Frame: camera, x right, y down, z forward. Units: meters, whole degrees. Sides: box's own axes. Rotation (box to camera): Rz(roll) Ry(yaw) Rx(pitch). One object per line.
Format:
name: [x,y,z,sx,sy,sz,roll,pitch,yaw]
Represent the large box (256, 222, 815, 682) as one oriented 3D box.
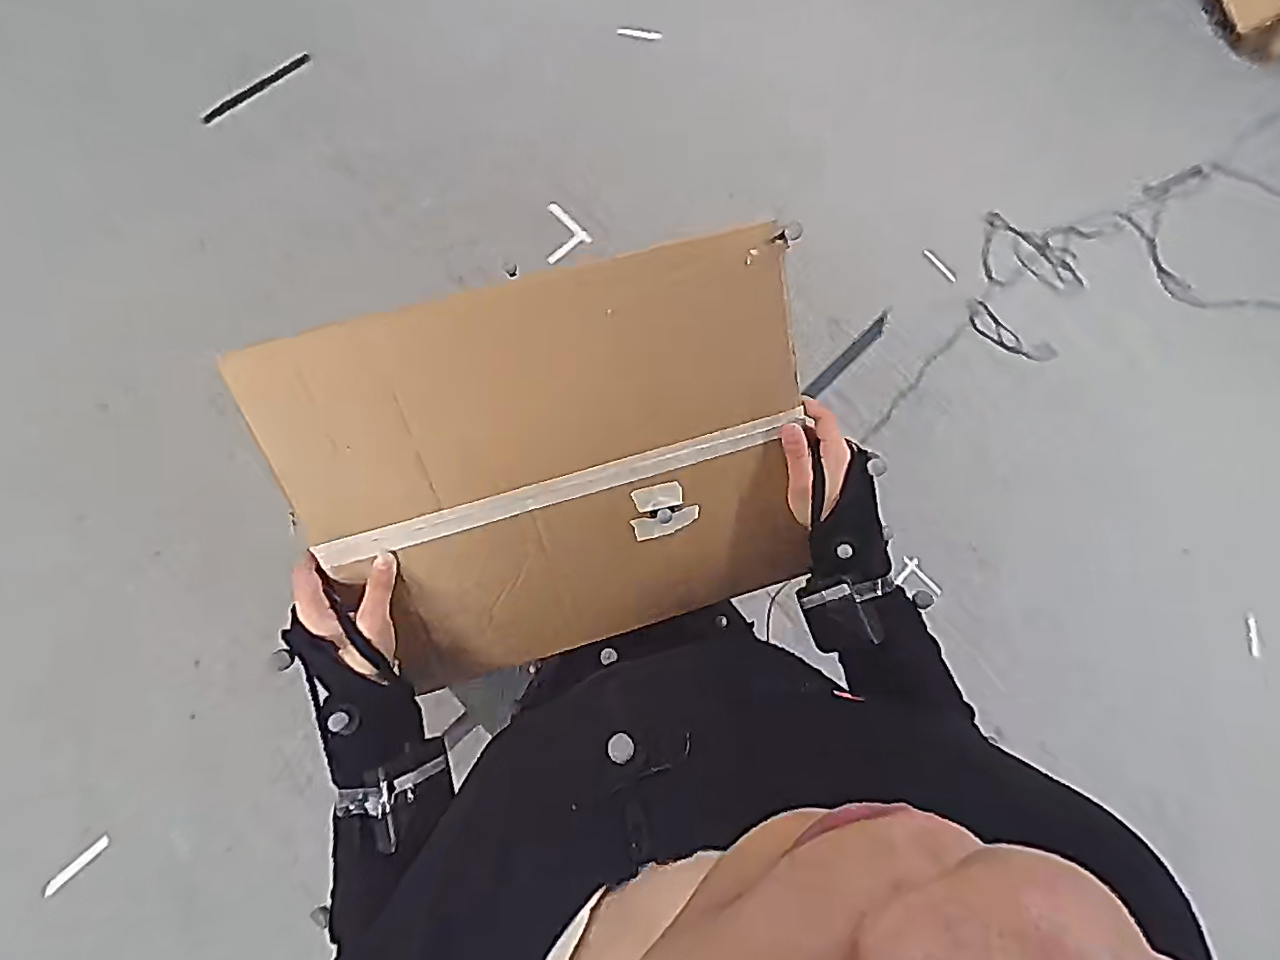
large box: [-0.080,-0.058,0.588,0.408,0.320,0.320,-16,114,-6]
